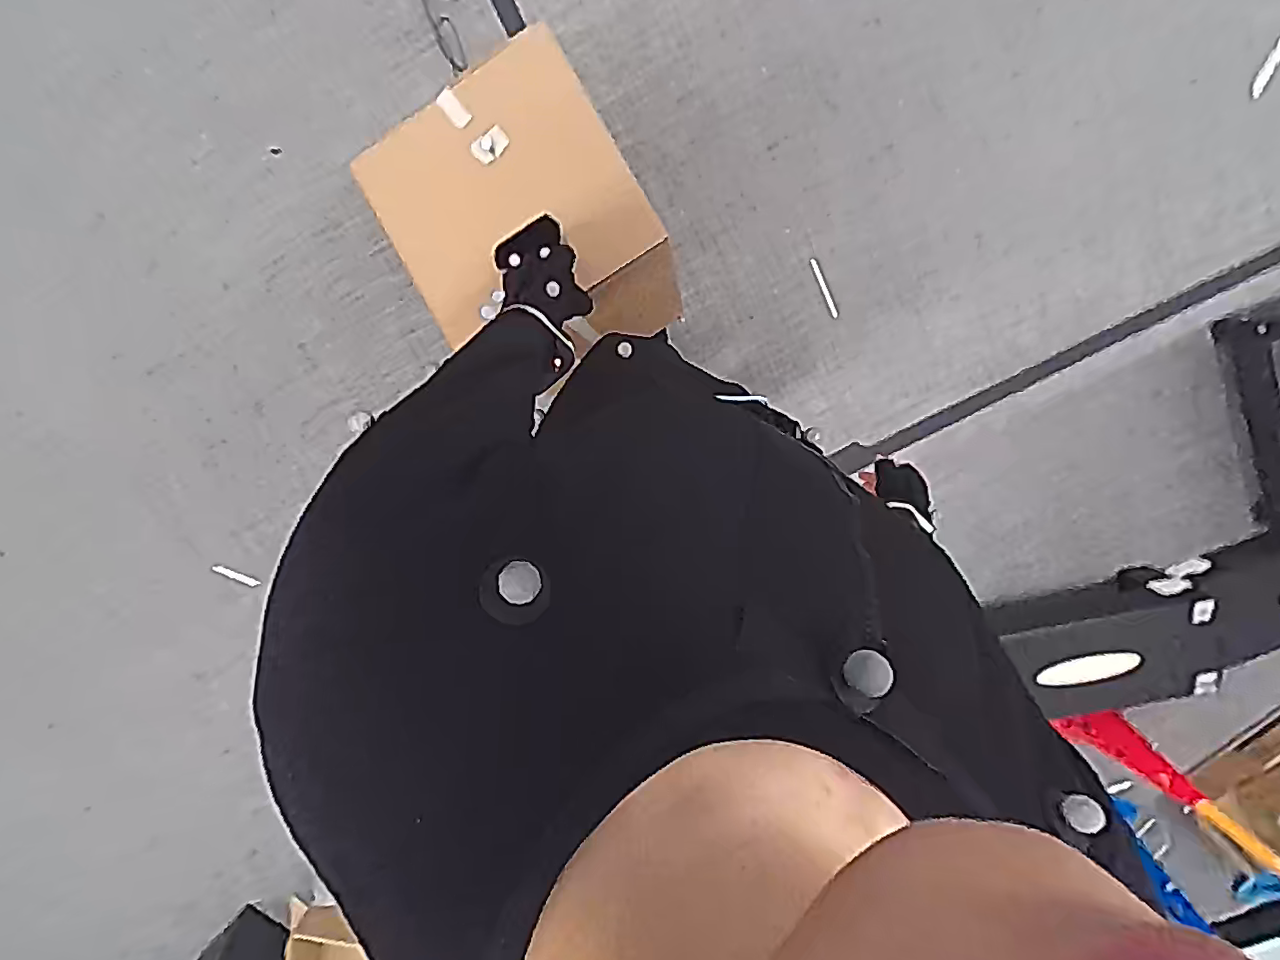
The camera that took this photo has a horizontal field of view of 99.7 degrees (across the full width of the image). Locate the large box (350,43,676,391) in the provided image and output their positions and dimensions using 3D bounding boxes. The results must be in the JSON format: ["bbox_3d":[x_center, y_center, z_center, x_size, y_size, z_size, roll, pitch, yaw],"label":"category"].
[{"bbox_3d":[-0.165,-0.370,0.893,0.320,0.408,0.320,-31,90,10],"label":"large box"}]
